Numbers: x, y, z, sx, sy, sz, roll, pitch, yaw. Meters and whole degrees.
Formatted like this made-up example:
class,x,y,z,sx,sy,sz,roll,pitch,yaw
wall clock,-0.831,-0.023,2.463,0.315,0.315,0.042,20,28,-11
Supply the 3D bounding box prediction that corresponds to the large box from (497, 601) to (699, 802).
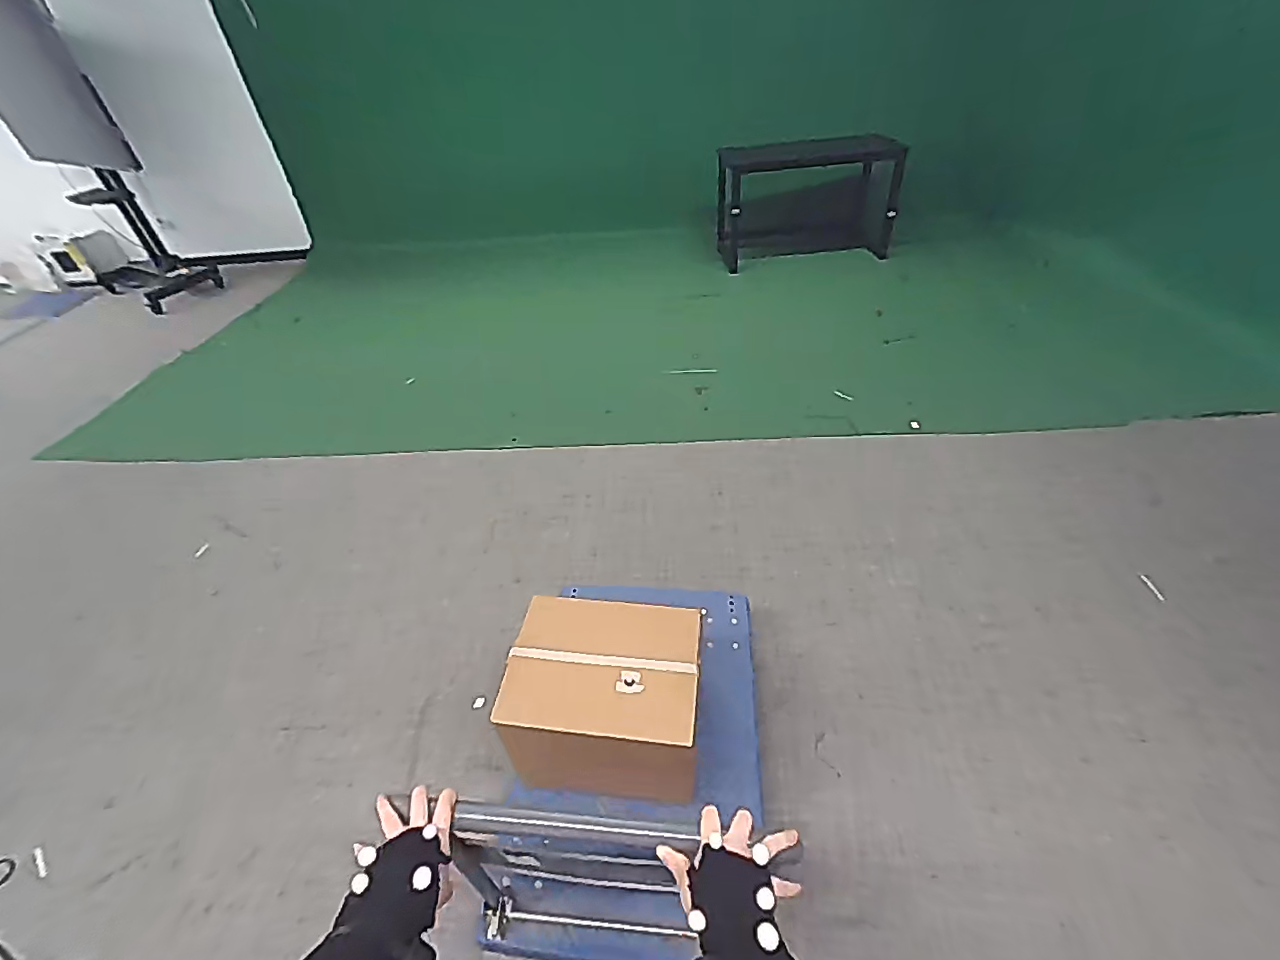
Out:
class,x,y,z,sx,sy,sz,roll,pitch,yaw
large box,-0.072,0.514,1.269,0.408,0.320,0.320,3,41,7
